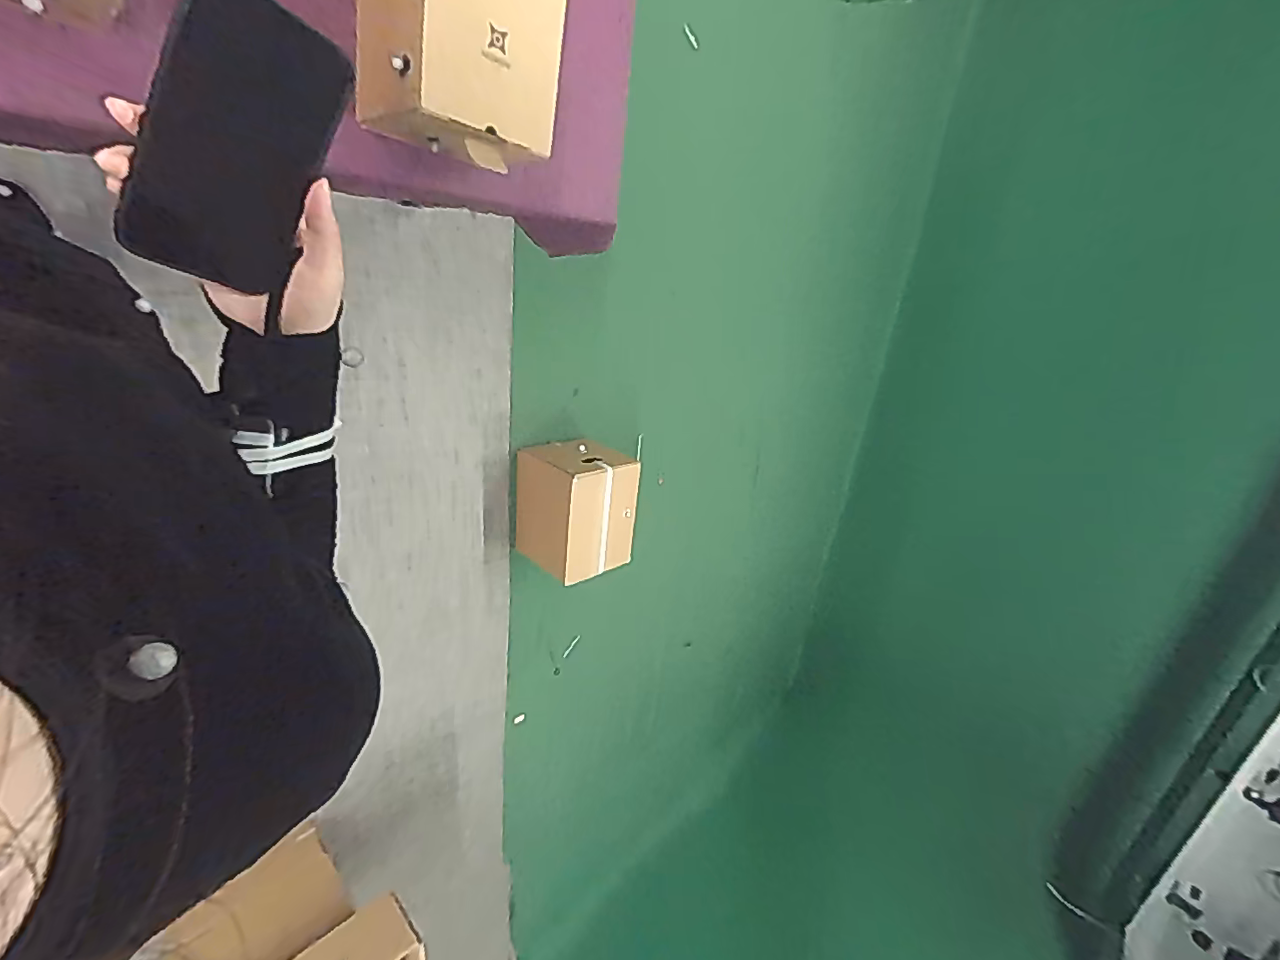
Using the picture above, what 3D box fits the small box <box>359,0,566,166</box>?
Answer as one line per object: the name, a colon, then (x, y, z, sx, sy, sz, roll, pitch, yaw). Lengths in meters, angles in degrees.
small box: (-0.208, -0.484, 0.624, 0.168, 0.176, 0.179, -9, 116, -46)
